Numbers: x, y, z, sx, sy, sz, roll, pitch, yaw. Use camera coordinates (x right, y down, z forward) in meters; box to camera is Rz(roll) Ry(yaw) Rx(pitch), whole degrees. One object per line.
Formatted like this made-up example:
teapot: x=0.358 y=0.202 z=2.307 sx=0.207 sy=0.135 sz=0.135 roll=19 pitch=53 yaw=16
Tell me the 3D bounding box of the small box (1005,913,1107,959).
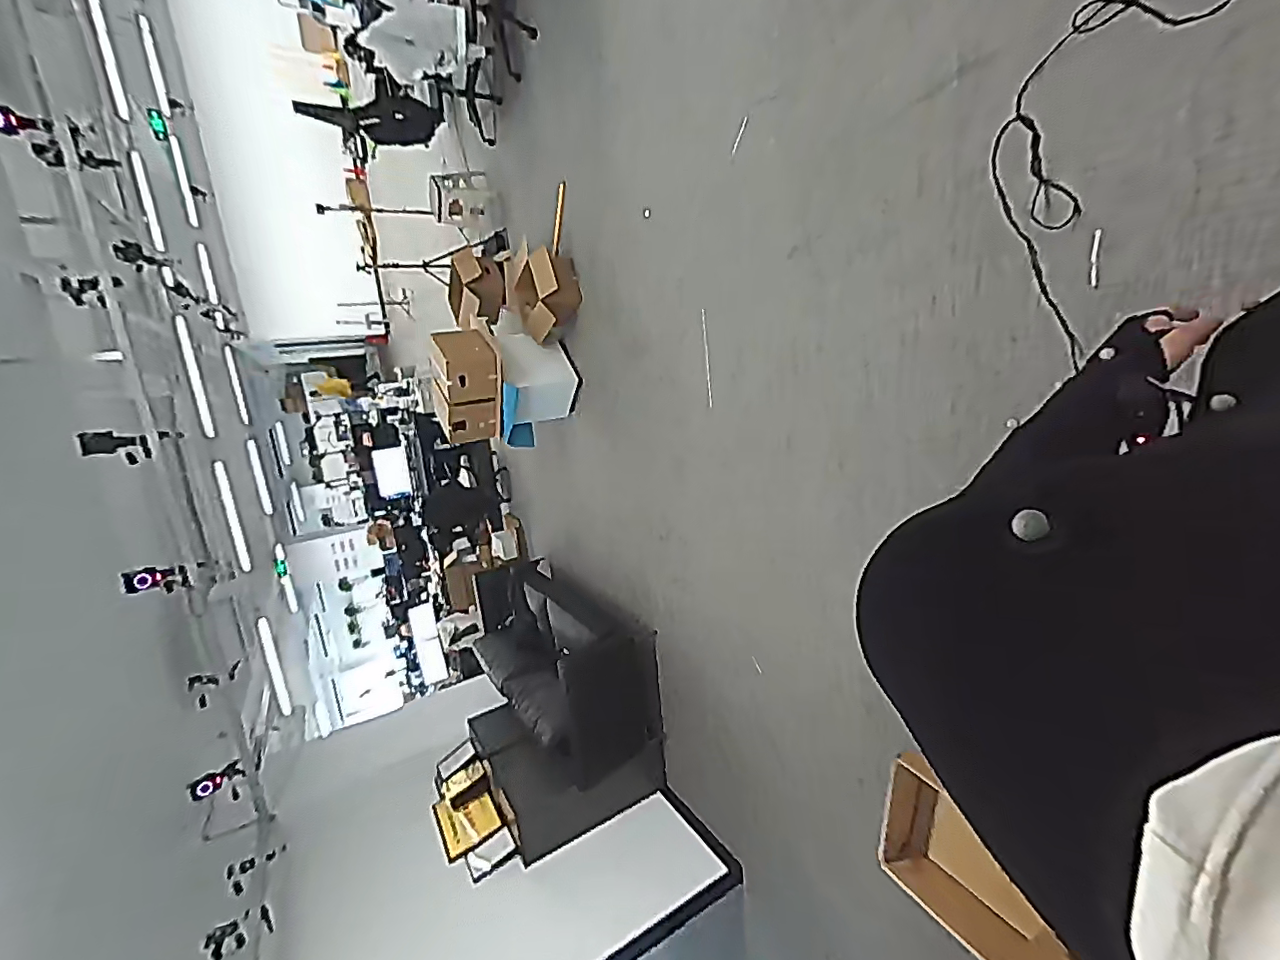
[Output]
small box: x=0.837 y=1.030 z=1.074 sx=0.168 sy=0.176 sz=0.179 roll=27 pitch=125 yaw=53
